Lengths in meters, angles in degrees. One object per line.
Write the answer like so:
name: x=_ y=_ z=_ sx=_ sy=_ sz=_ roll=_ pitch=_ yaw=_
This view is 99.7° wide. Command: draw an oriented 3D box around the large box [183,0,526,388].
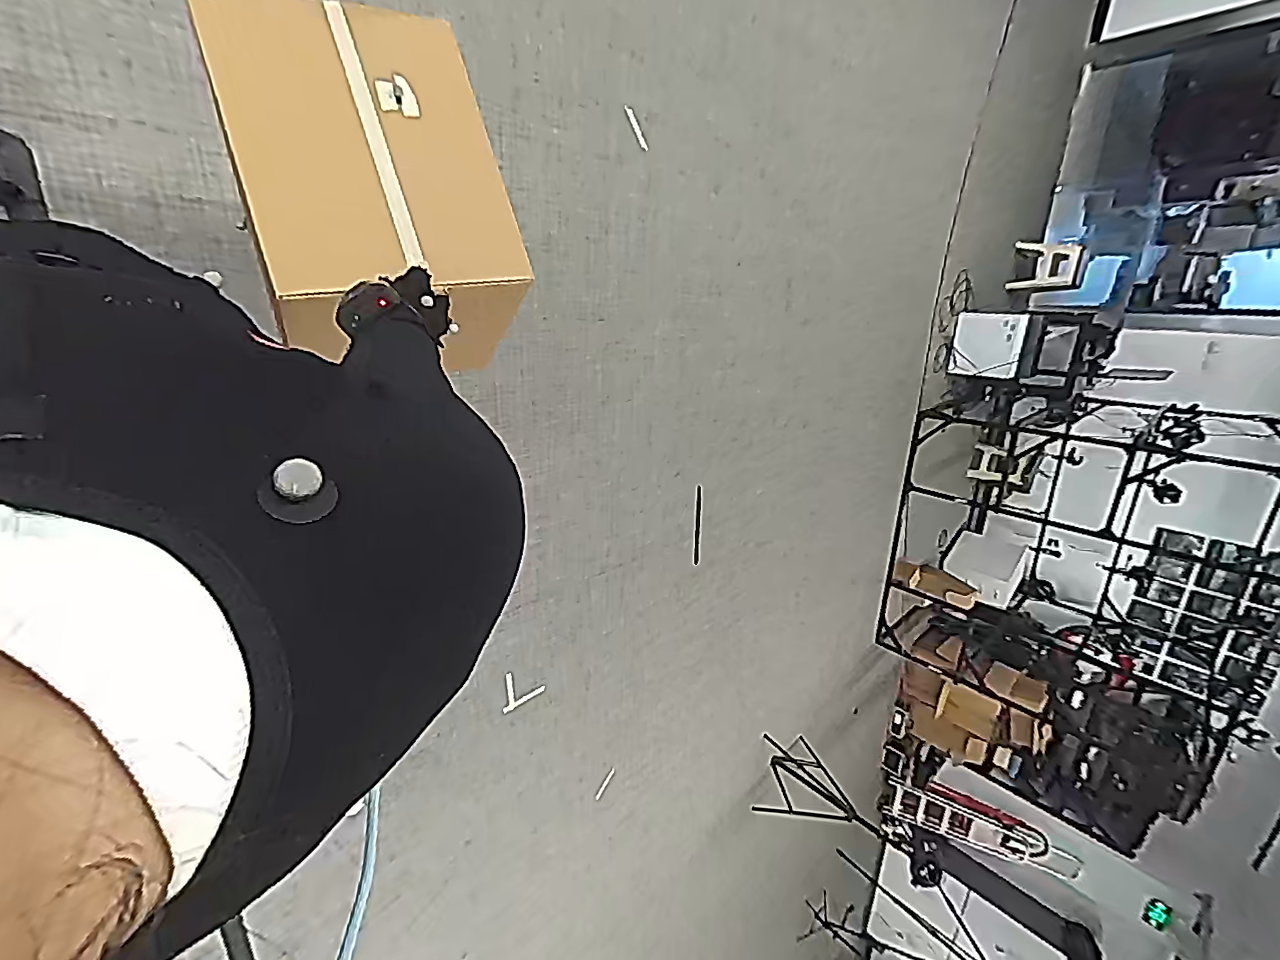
large box: x=-0.422 y=-0.403 z=0.835 sx=0.320 sy=0.320 sz=0.408 roll=-17 pitch=86 yaw=-32
